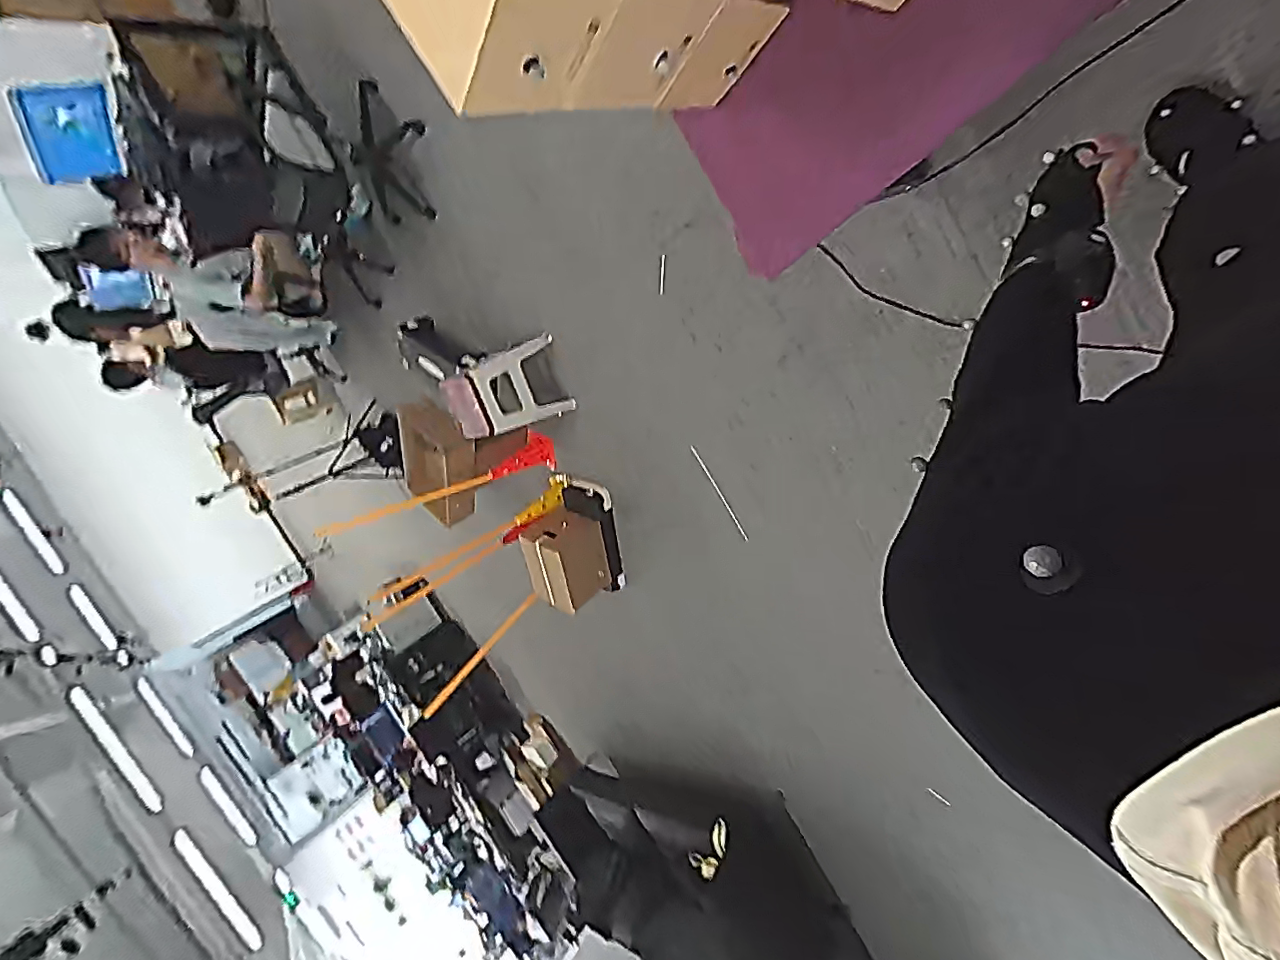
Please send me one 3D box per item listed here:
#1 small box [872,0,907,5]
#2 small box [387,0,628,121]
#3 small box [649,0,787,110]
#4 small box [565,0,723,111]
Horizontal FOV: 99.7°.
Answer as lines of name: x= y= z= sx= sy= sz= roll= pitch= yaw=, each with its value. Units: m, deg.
small box: x=0.271 y=-0.654 z=0.571 sx=0.168 sy=0.176 sz=0.179 roll=-28 pitch=96 yaw=52
small box: x=-0.139 y=-0.522 z=0.567 sx=0.179 sy=0.176 sz=0.168 roll=57 pitch=143 yaw=-1
small box: x=0.072 y=-0.666 z=0.769 sx=0.179 sy=0.176 sz=0.168 roll=57 pitch=142 yaw=-3
small box: x=-0.034 y=-0.595 z=0.667 sx=0.179 sy=0.176 sz=0.168 roll=57 pitch=142 yaw=-2
